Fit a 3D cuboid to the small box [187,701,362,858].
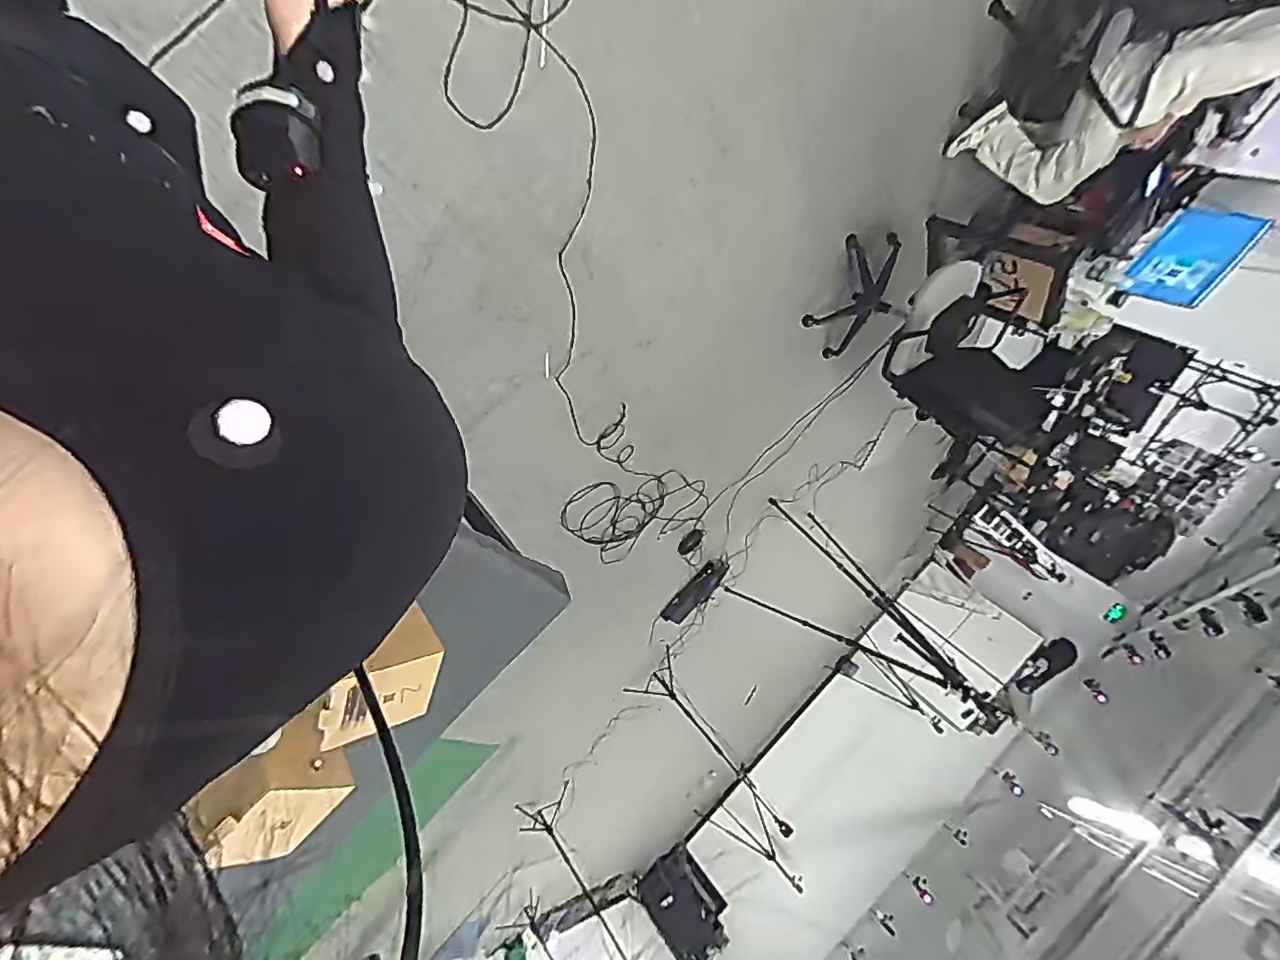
[{"bbox_3d":[-0.637,0.513,0.946,0.168,0.176,0.179,-46,146,-5],"label":"small box"}]
